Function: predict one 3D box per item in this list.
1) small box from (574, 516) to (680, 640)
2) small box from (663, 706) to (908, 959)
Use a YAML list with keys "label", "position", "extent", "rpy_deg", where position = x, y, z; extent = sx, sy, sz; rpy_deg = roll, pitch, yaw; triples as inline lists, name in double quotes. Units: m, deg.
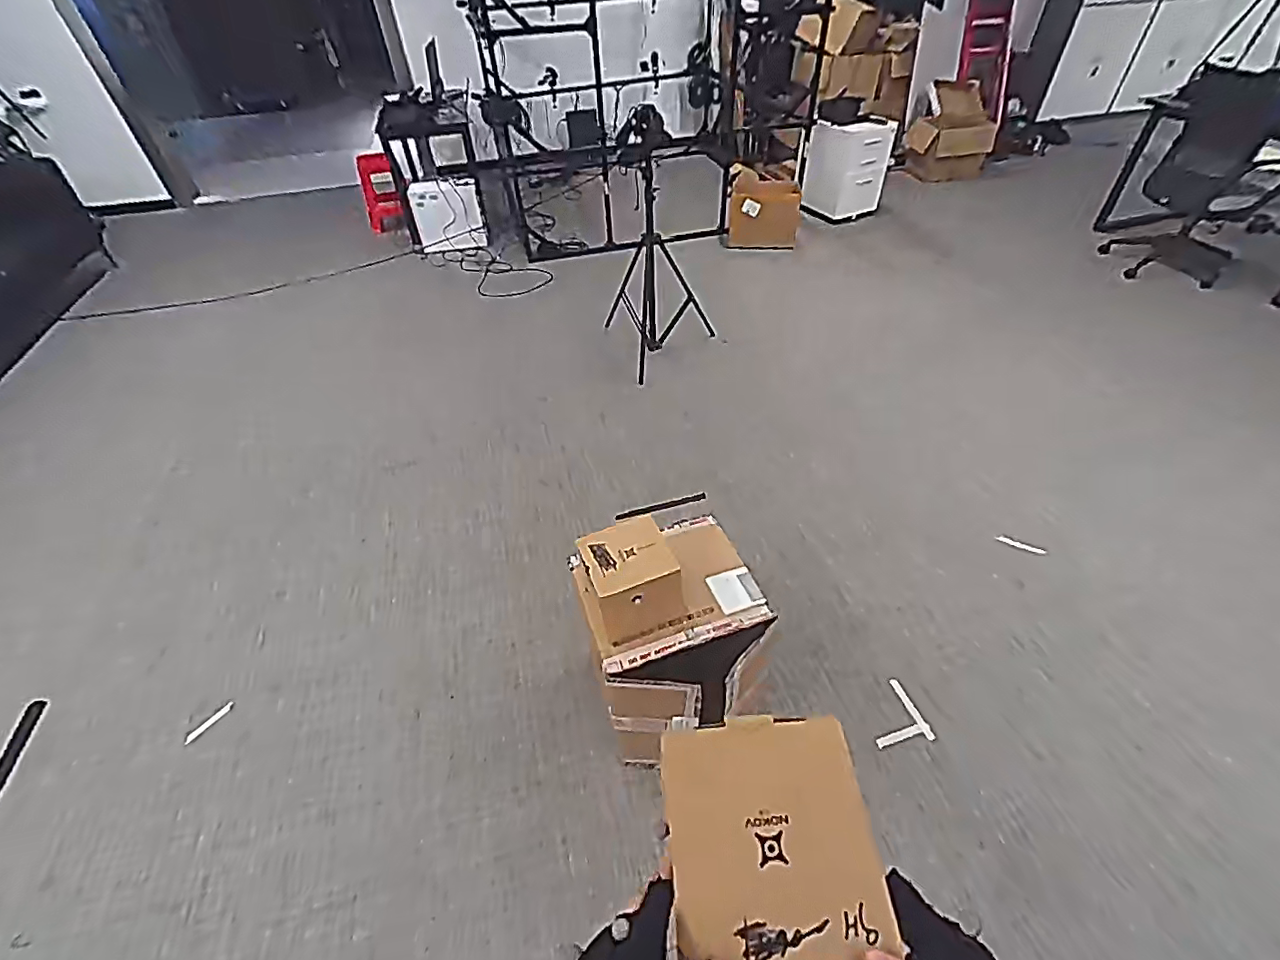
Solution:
- label: "small box"
  position: [-0.024, 0.211, 1.149]
  extent: [0.179, 0.176, 0.168]
  rpy_deg: [-18, 45, -13]
- label: "small box"
  position: [0.110, 0.330, 0.504]
  extent: [0.168, 0.176, 0.179]
  rpy_deg: [-5, 52, -1]
